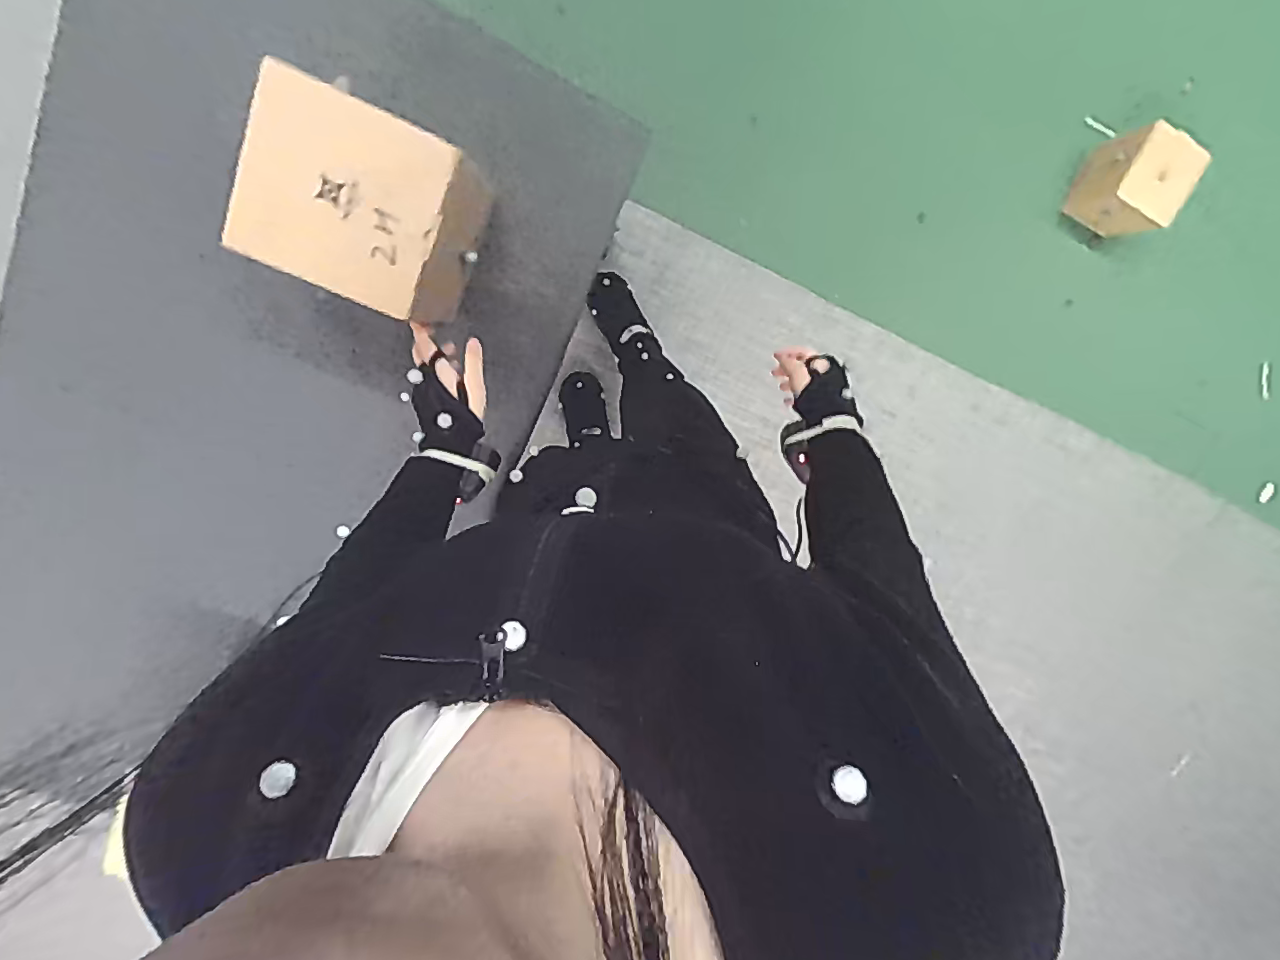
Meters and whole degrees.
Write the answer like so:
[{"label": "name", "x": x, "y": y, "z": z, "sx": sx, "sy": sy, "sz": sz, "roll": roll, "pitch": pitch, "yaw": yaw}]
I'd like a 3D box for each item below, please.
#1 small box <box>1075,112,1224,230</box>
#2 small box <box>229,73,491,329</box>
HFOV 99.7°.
[{"label": "small box", "x": 1.215, "y": -0.734, "z": 1.310, "sx": 0.168, "sy": 0.176, "sz": 0.179, "roll": 23, "pitch": 102, "yaw": -9}, {"label": "small box", "x": -0.283, "y": -0.278, "z": 0.586, "sx": 0.179, "sy": 0.176, "sz": 0.168, "roll": 25, "pitch": 104, "yaw": -13}]
